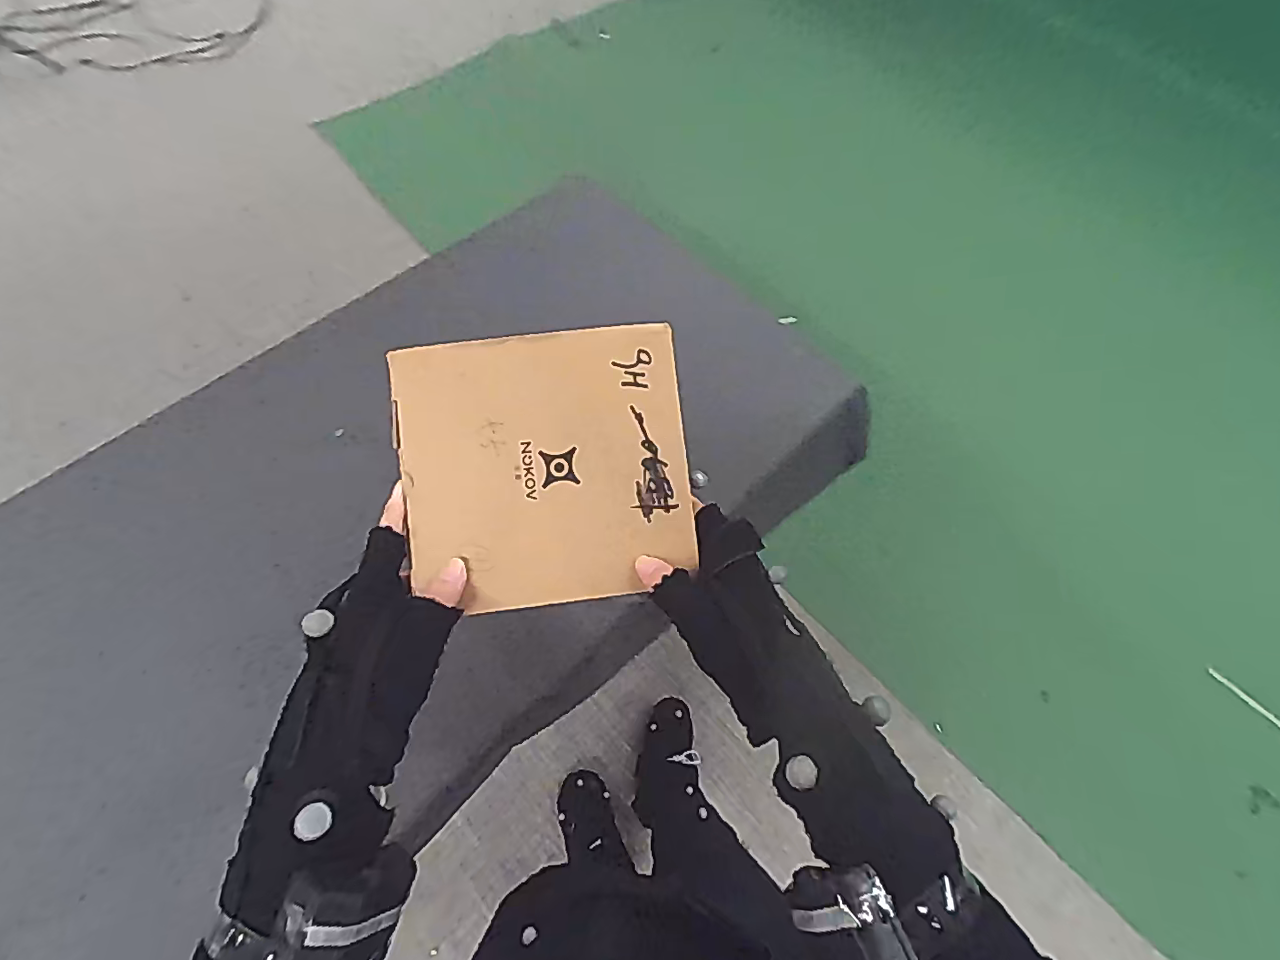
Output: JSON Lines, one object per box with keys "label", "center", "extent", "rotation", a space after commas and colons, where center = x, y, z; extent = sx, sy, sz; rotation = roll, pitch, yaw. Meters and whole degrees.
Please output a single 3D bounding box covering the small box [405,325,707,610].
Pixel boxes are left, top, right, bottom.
{"label": "small box", "center": [-0.056, -0.002, 0.418], "extent": [0.179, 0.176, 0.168], "rotation": [-8, 85, -4]}
